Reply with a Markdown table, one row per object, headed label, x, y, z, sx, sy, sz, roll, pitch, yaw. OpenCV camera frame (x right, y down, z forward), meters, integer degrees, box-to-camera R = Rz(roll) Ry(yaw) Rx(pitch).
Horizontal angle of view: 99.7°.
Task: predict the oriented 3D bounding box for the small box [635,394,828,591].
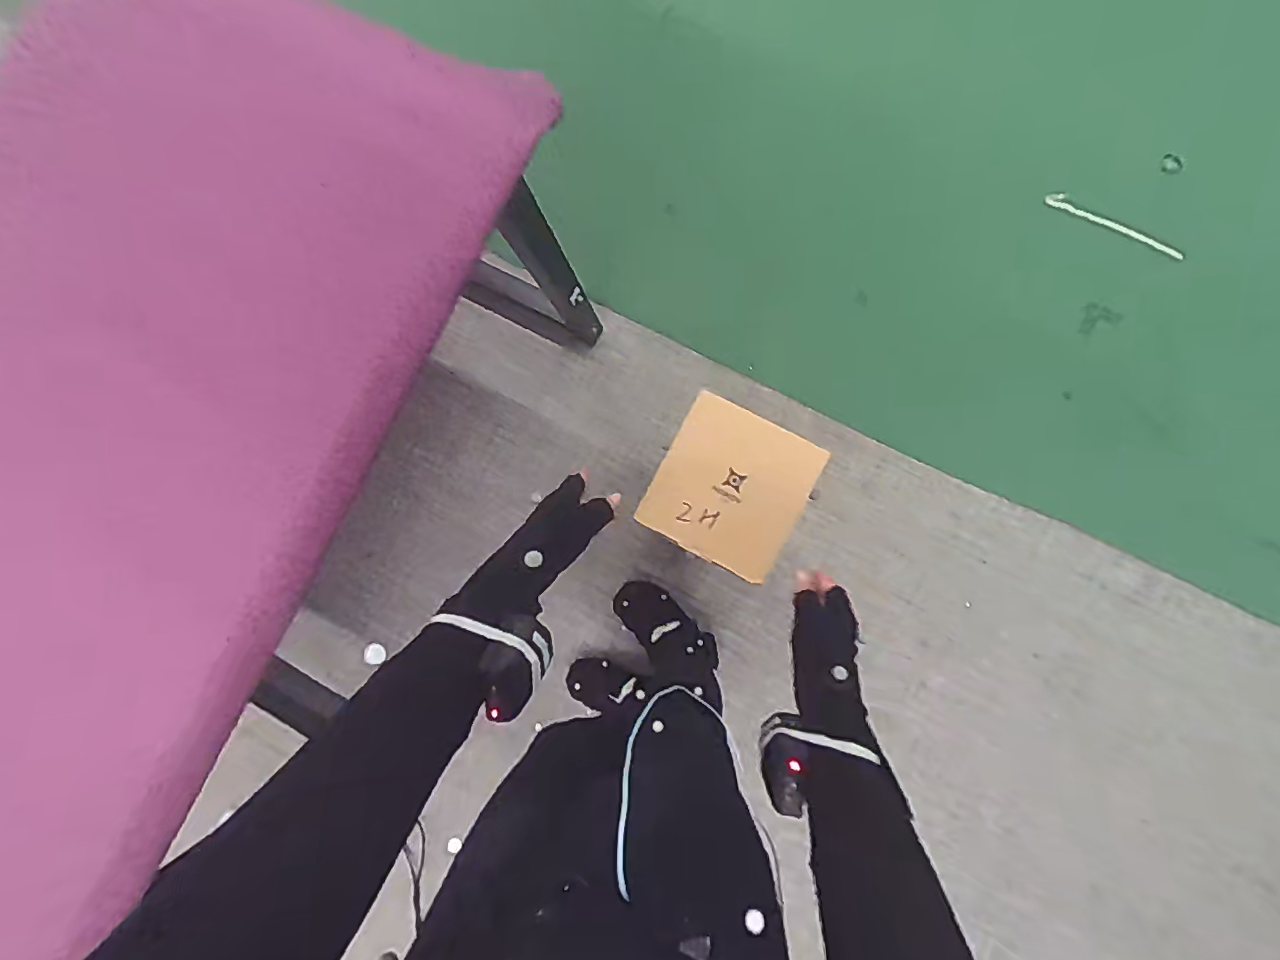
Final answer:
| label | x | y | z | sx | sy | sz | roll | pitch | yaw |
| --- | --- | --- | --- | --- | --- | --- | --- | --- | --- |
| small box | 0.110 | 0.016 | 0.701 | 0.168 | 0.176 | 0.179 | 29 | 91 | 7 |
